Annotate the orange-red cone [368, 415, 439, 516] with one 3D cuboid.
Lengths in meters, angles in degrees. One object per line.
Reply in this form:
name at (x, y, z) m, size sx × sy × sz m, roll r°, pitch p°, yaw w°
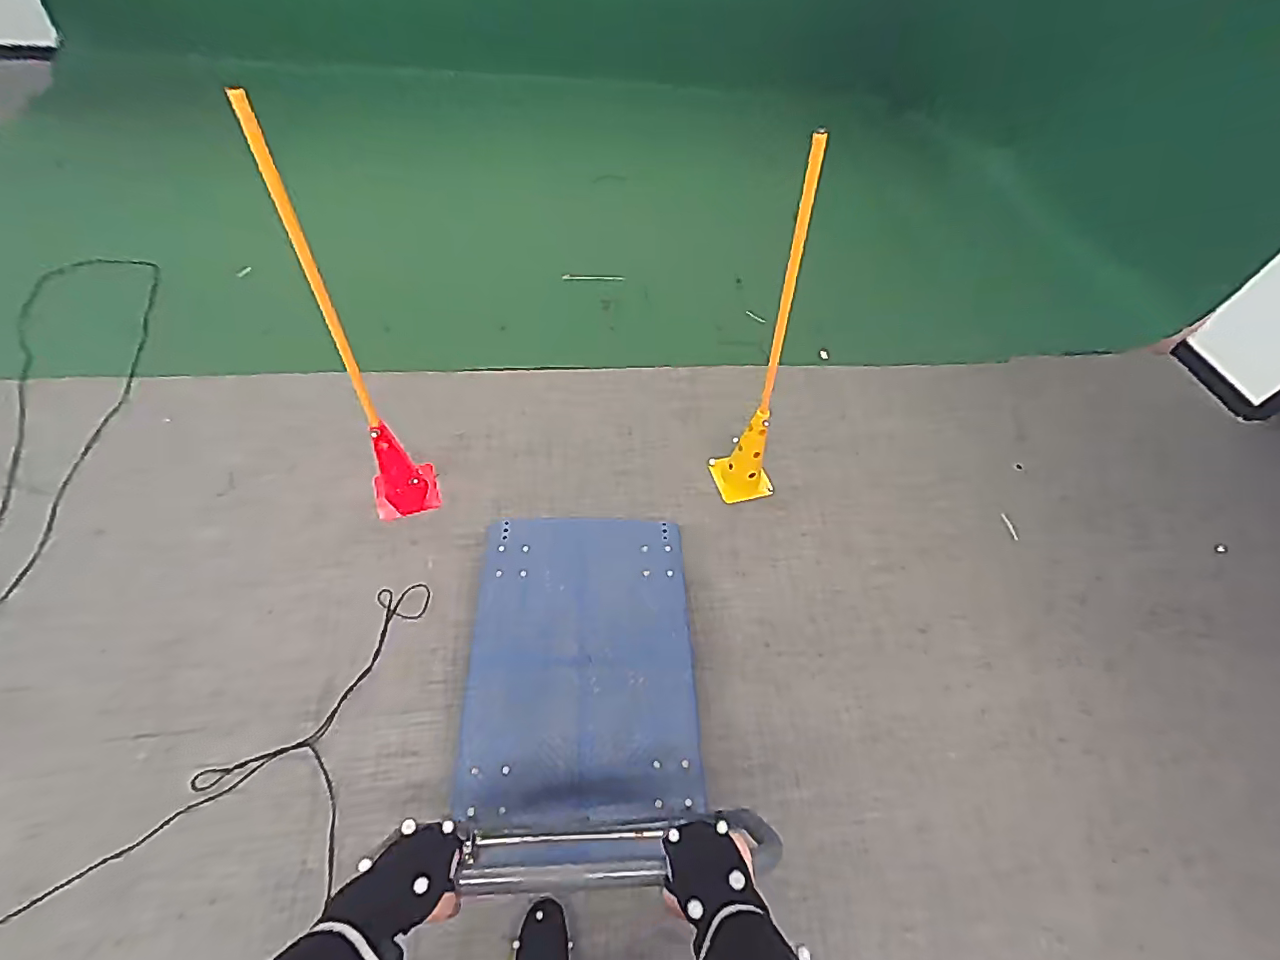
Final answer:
orange-red cone at (-0.790, -0.071, 1.717) m, size 0.199 × 0.360 × 0.198 m, roll -15°, pitch 57°, yaw -14°
